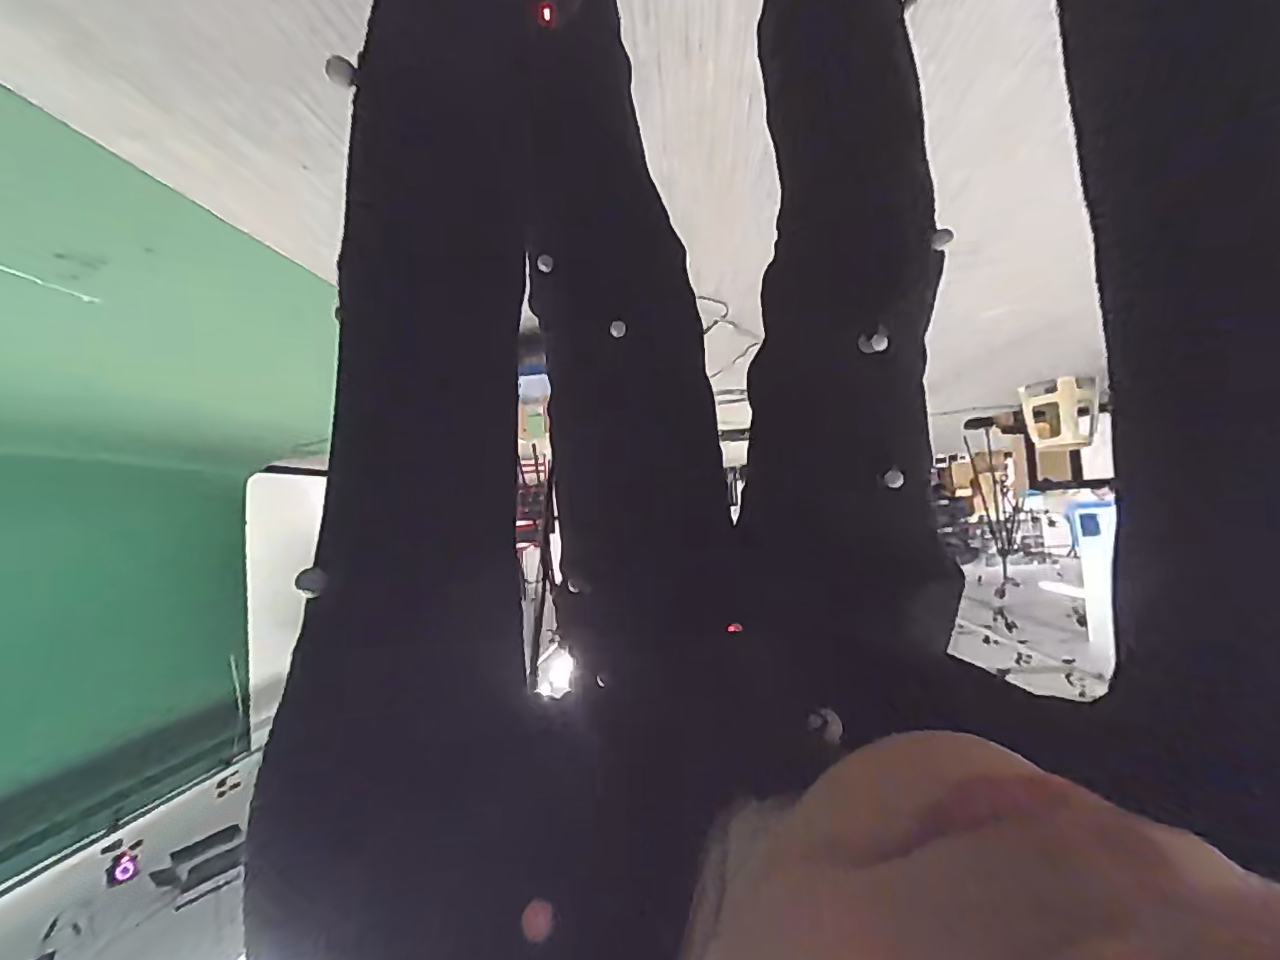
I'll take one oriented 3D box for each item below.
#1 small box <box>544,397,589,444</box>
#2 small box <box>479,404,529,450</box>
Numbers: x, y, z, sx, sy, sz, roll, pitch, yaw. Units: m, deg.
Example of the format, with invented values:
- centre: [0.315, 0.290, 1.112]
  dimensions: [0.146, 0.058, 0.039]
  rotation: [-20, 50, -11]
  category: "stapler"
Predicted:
- centre: [-0.314, -0.256, 2.338]
  dimensions: [0.168, 0.176, 0.179]
  rotation: [-4, 175, 4]
  category: "small box"
- centre: [-0.592, -0.232, 2.365]
  dimensions: [0.168, 0.176, 0.179]
  rotation: [-5, 176, 5]
  category: "small box"
